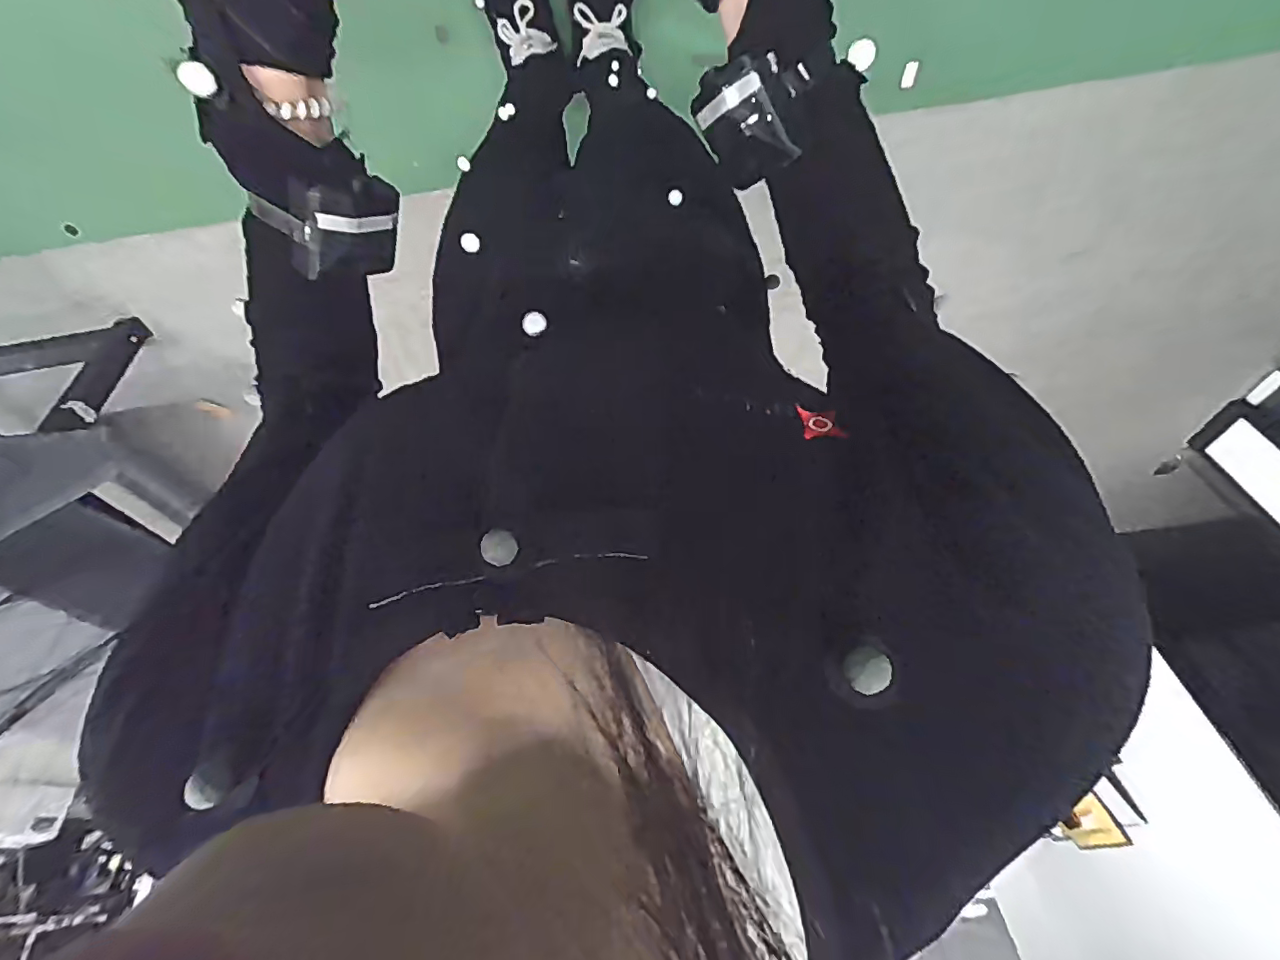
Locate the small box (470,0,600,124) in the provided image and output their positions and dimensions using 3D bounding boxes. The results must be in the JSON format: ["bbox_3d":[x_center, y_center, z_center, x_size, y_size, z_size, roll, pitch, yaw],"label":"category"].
[{"bbox_3d":[-0.197,-0.804,0.989,0.179,0.176,0.168,24,145,-15],"label":"small box"}]
